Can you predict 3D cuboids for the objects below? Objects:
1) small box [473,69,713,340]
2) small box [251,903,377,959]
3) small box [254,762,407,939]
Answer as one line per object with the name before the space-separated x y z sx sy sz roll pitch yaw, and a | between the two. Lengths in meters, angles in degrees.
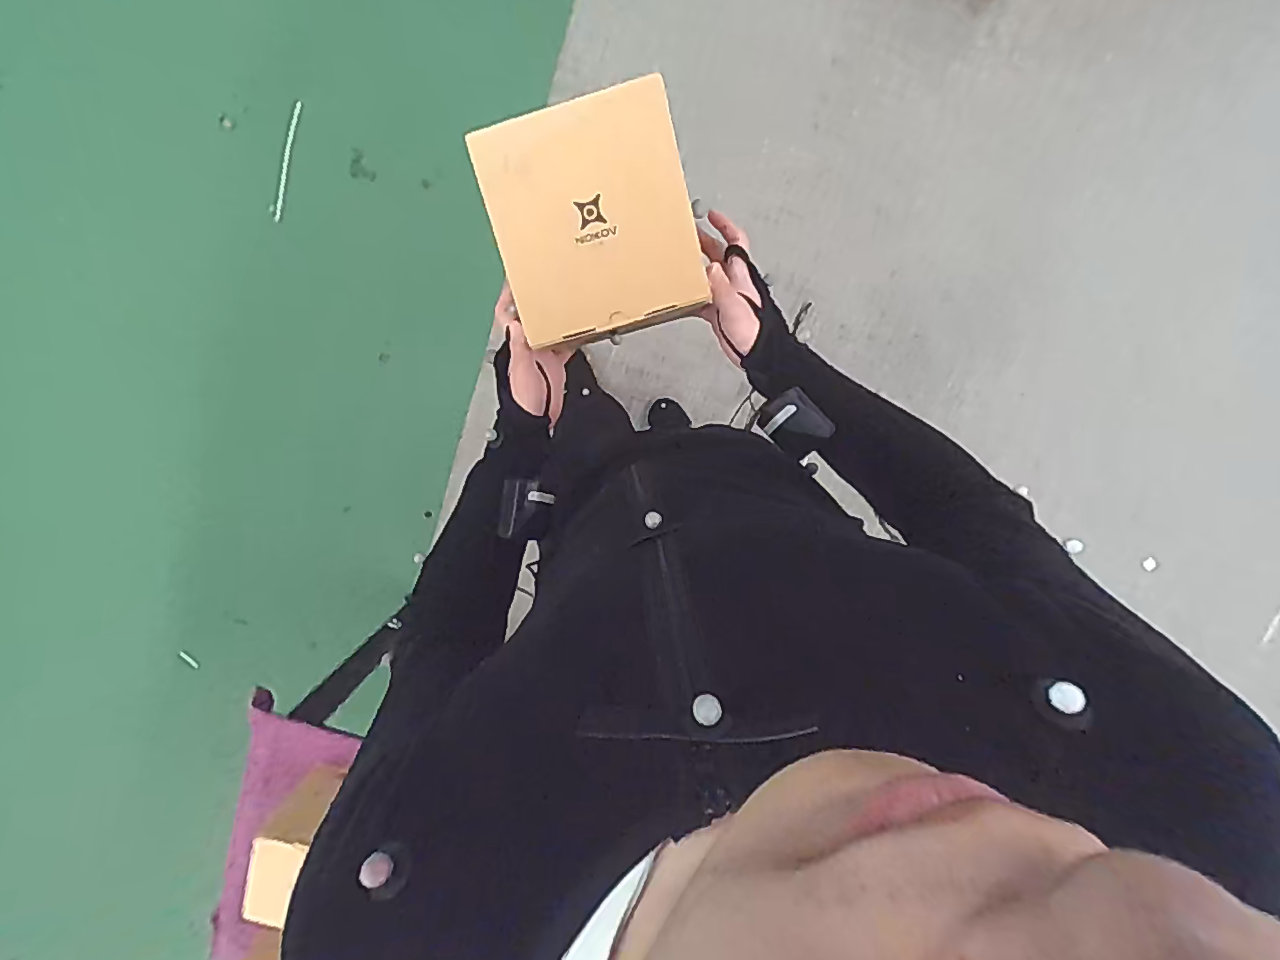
small box | -0.036 -0.240 0.522 0.168 0.176 0.179 -14 104 5
small box | -0.633 0.936 1.033 0.168 0.176 0.179 18 102 -2
small box | -0.540 0.649 0.963 0.168 0.176 0.179 16 102 -2
